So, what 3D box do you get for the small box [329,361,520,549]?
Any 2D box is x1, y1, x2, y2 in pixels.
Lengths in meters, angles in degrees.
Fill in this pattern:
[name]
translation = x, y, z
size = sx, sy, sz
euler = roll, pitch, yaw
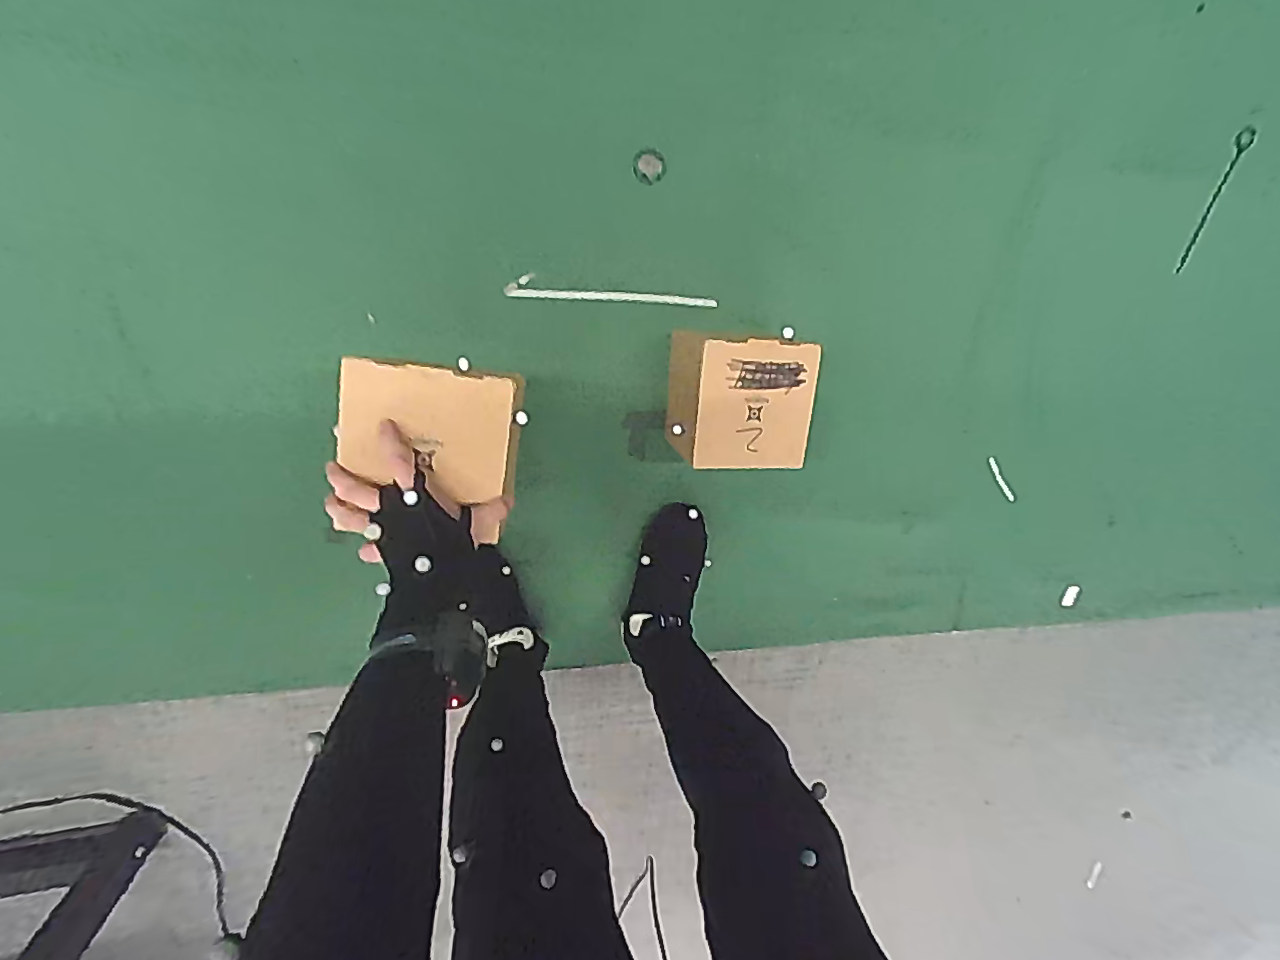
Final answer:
[small box]
translation = -0.232, -0.036, 0.620
size = 0.168, 0.176, 0.179
euler = 7, 100, -10
